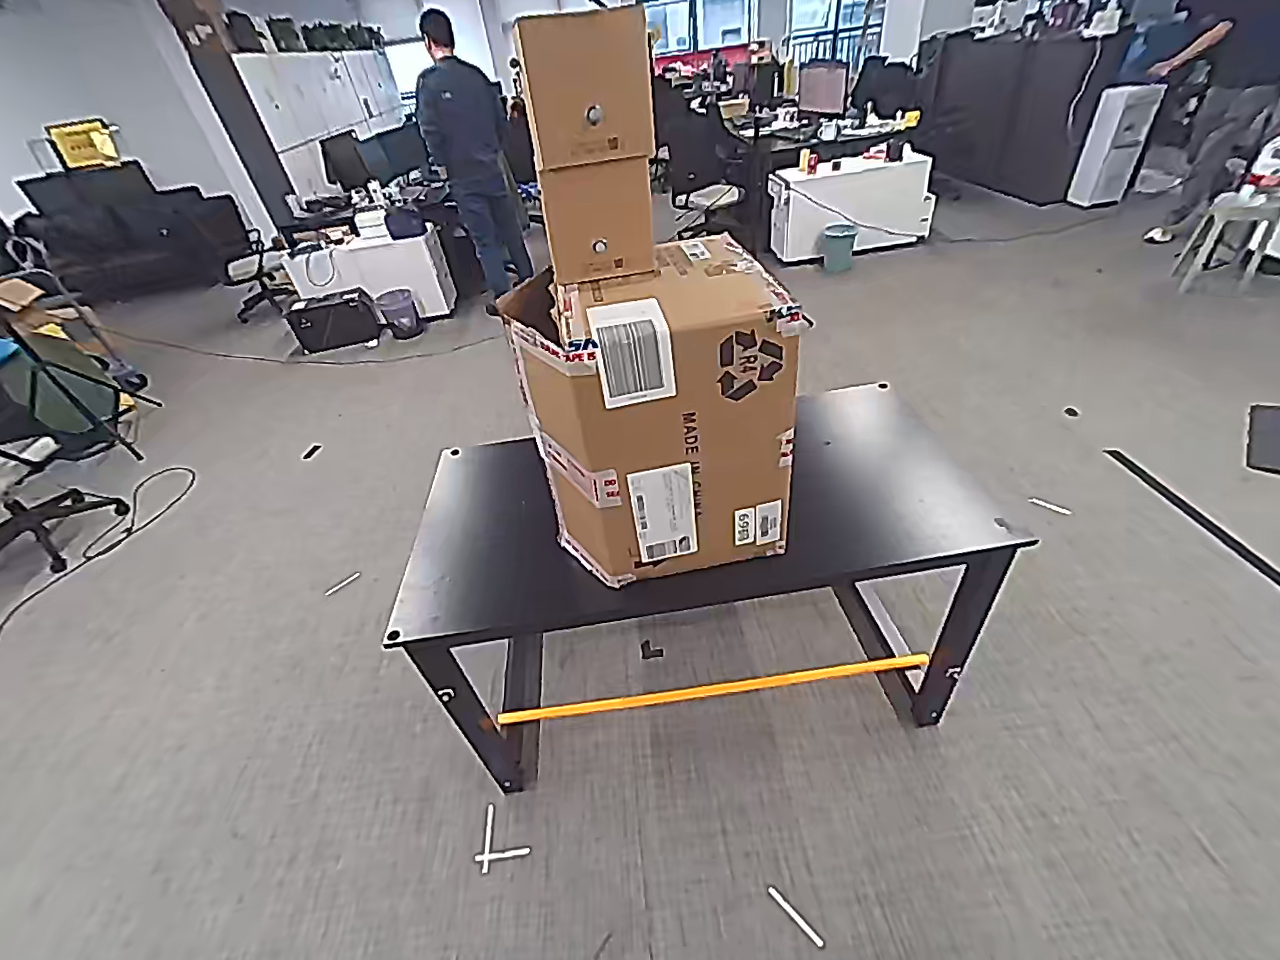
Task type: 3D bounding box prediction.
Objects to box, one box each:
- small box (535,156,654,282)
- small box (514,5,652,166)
[{"bbox_3d":[-0.076,-0.442,0.898,0.168,0.176,0.179,-11,37,-5],"label":"small box"},{"bbox_3d":[-0.084,-0.569,0.793,0.168,0.176,0.179,-13,37,-7],"label":"small box"}]
